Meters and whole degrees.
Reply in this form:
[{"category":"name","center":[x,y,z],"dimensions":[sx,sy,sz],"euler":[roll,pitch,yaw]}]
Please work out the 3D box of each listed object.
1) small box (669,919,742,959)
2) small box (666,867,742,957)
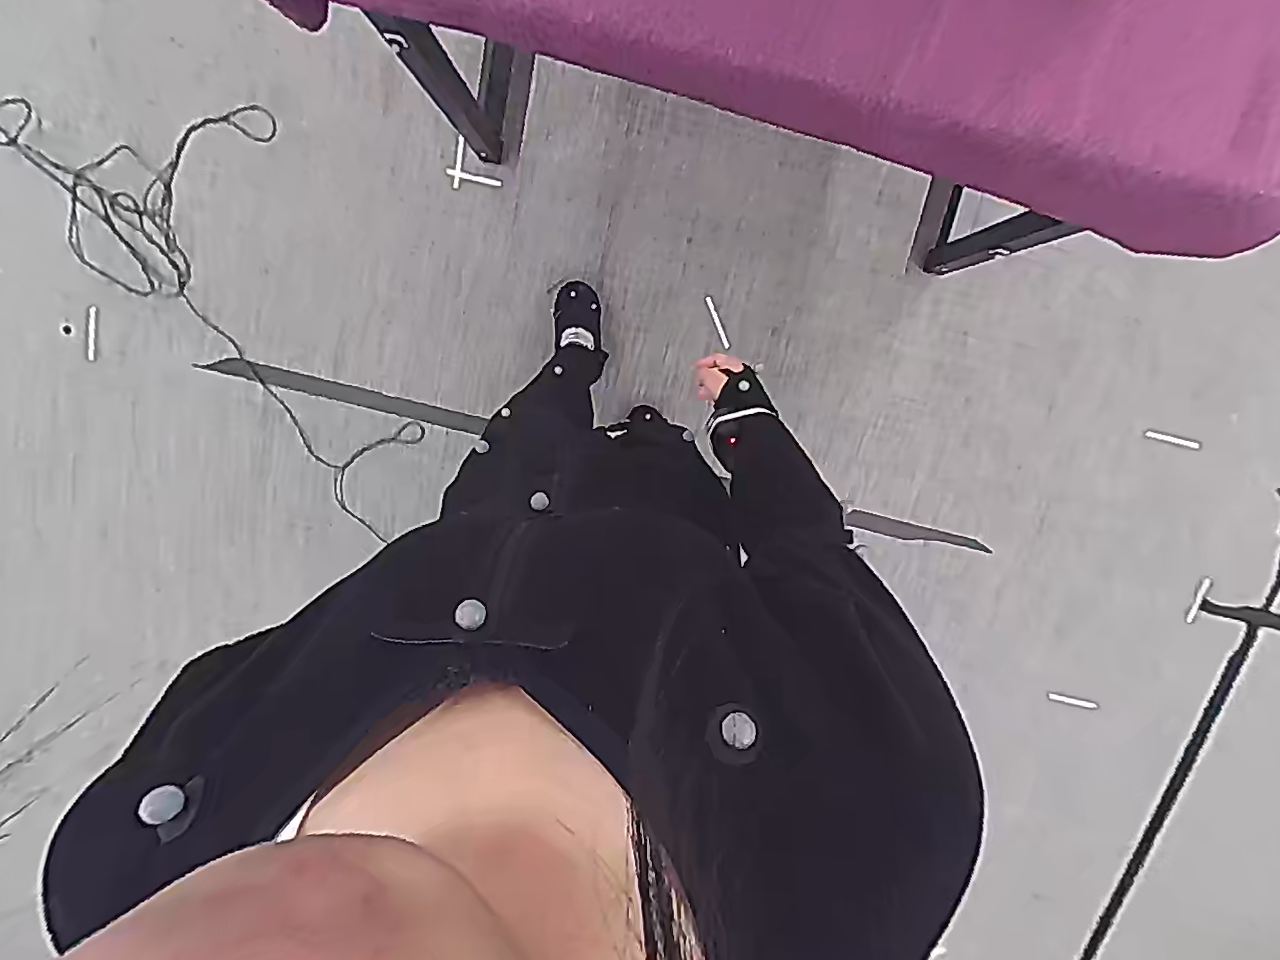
[{"category":"small box","center":[0.191,1.374,1.486],"dimensions":[0.168,0.176,0.179],"euler":[-29,100,5]},{"category":"small box","center":[0.190,1.337,1.644],"dimensions":[0.168,0.176,0.179],"euler":[-27,101,5]}]
